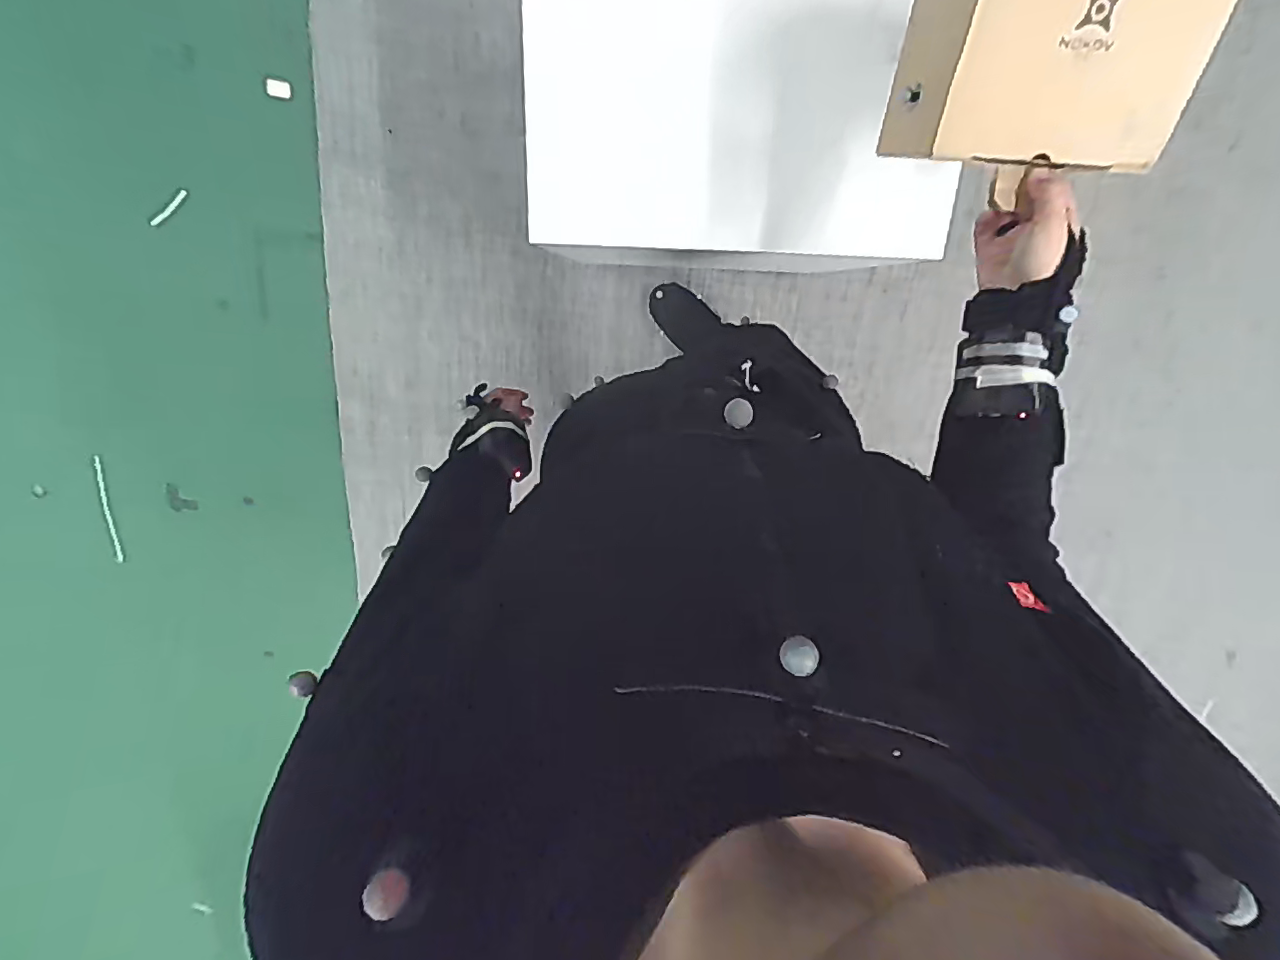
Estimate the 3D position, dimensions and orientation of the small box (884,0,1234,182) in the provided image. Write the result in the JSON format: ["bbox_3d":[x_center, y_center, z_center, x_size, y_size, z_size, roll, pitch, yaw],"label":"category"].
[{"bbox_3d":[0.318,-0.350,0.441,0.168,0.176,0.179,6,120,4],"label":"small box"}]
